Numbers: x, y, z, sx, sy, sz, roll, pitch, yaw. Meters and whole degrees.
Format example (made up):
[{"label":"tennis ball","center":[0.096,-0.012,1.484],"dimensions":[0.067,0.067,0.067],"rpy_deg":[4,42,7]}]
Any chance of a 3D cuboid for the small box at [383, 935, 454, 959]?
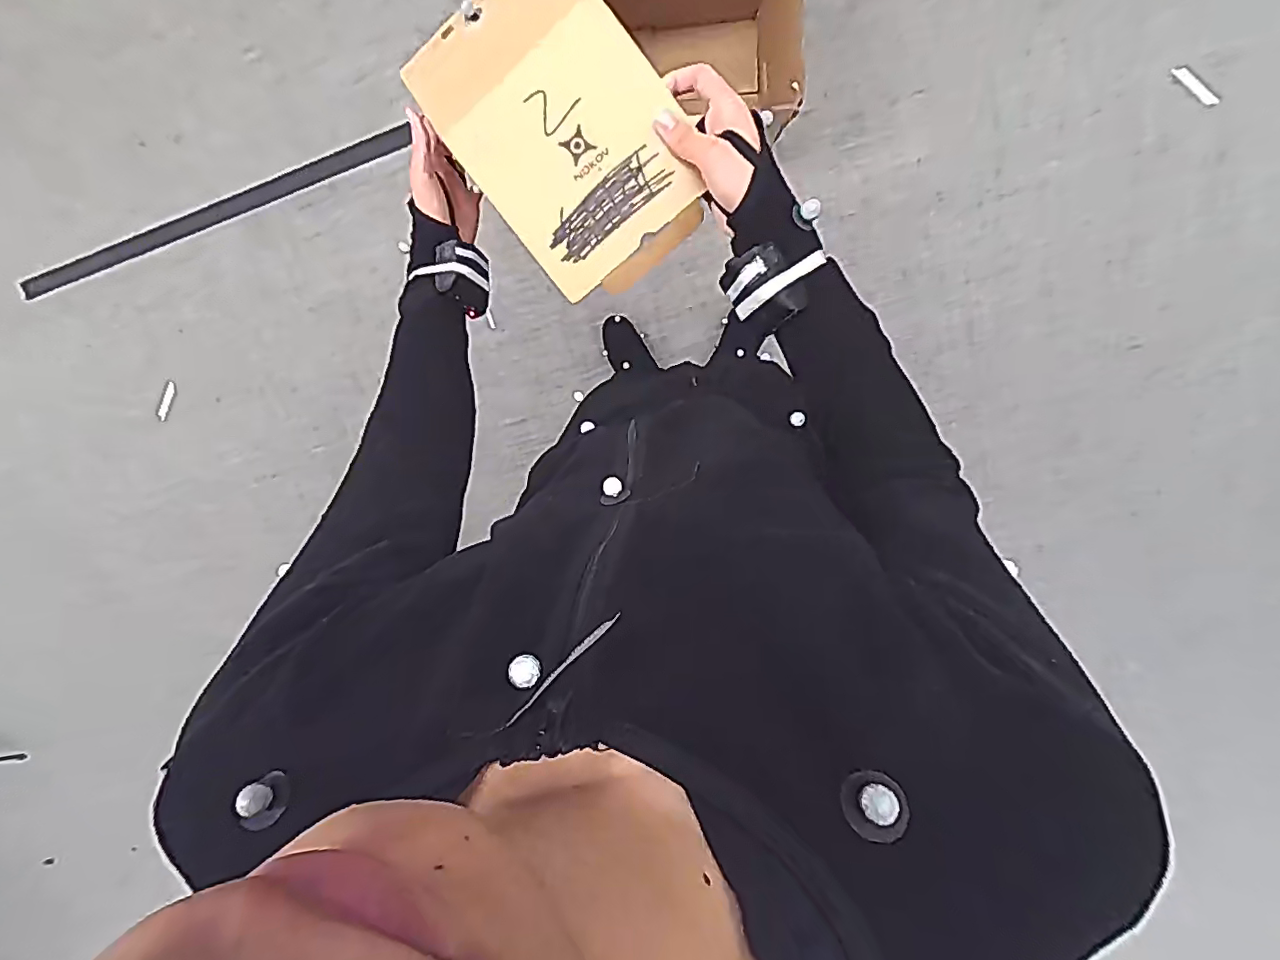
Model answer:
[{"label":"small box","center":[-0.544,1.226,1.273],"dimensions":[0.179,0.176,0.168],"rpy_deg":[-28,104,13]}]
